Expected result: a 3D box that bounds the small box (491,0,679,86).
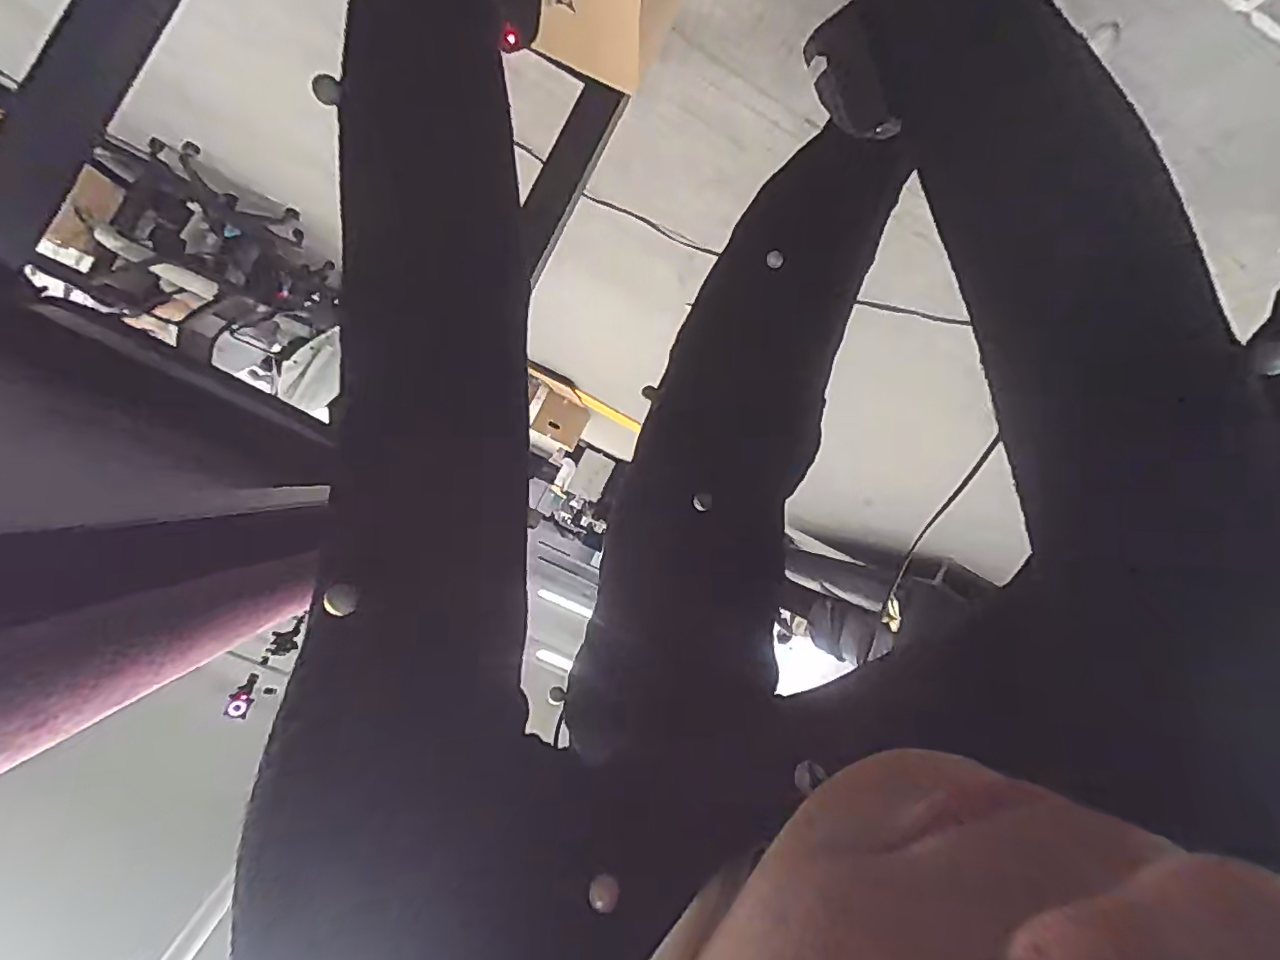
[{"bbox_3d":[-0.038,-0.533,0.500,0.179,0.176,0.168,26,176,-1],"label":"small box"}]
